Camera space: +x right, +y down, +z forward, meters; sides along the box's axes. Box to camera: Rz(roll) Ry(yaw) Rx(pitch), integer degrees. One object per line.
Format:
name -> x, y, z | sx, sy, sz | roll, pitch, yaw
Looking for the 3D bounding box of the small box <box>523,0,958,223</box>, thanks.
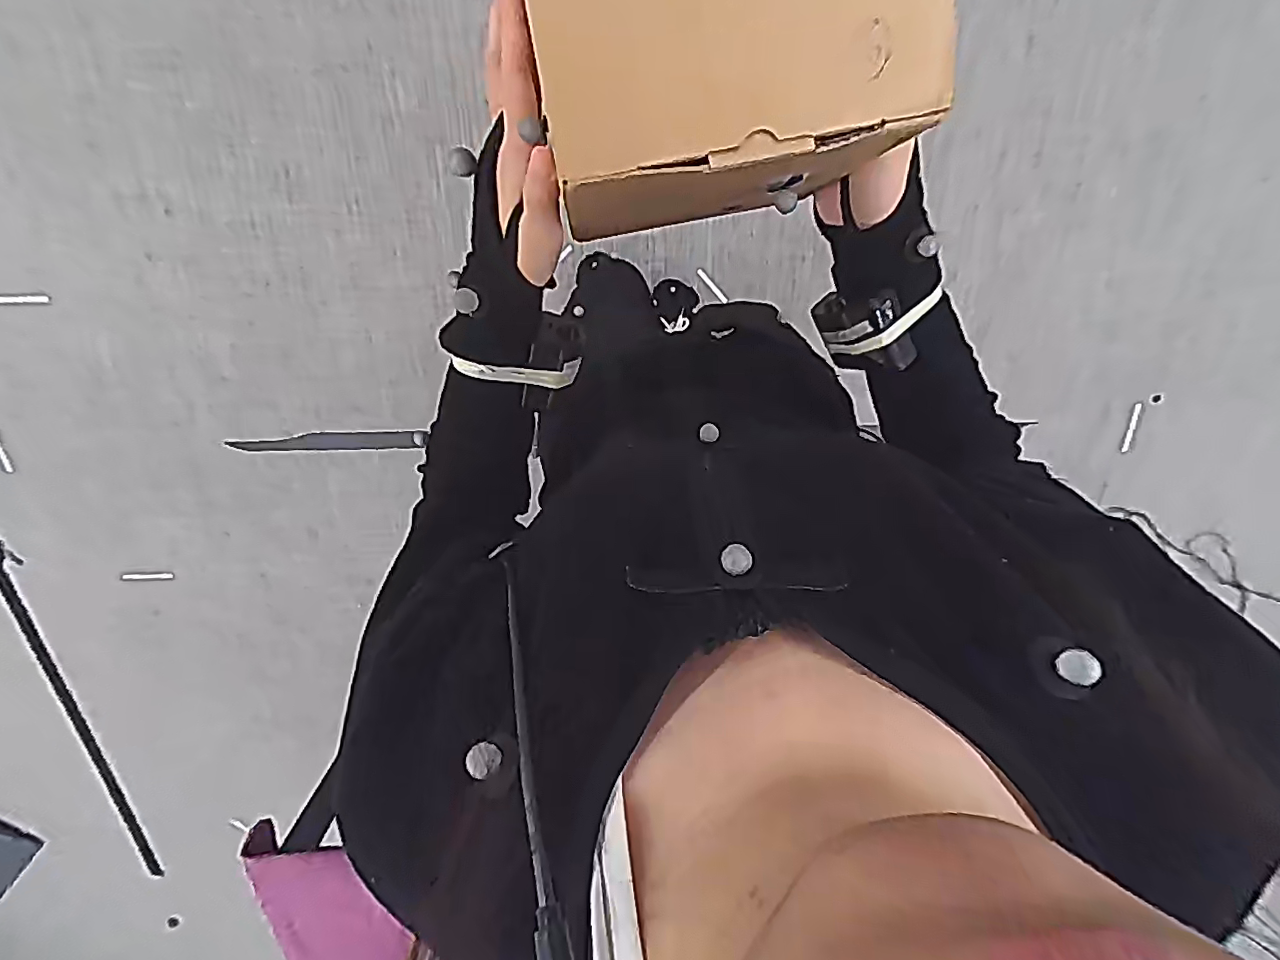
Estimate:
small box -> 0.026, -0.239, 0.268 | 0.168, 0.176, 0.179 | -12, 107, -3
